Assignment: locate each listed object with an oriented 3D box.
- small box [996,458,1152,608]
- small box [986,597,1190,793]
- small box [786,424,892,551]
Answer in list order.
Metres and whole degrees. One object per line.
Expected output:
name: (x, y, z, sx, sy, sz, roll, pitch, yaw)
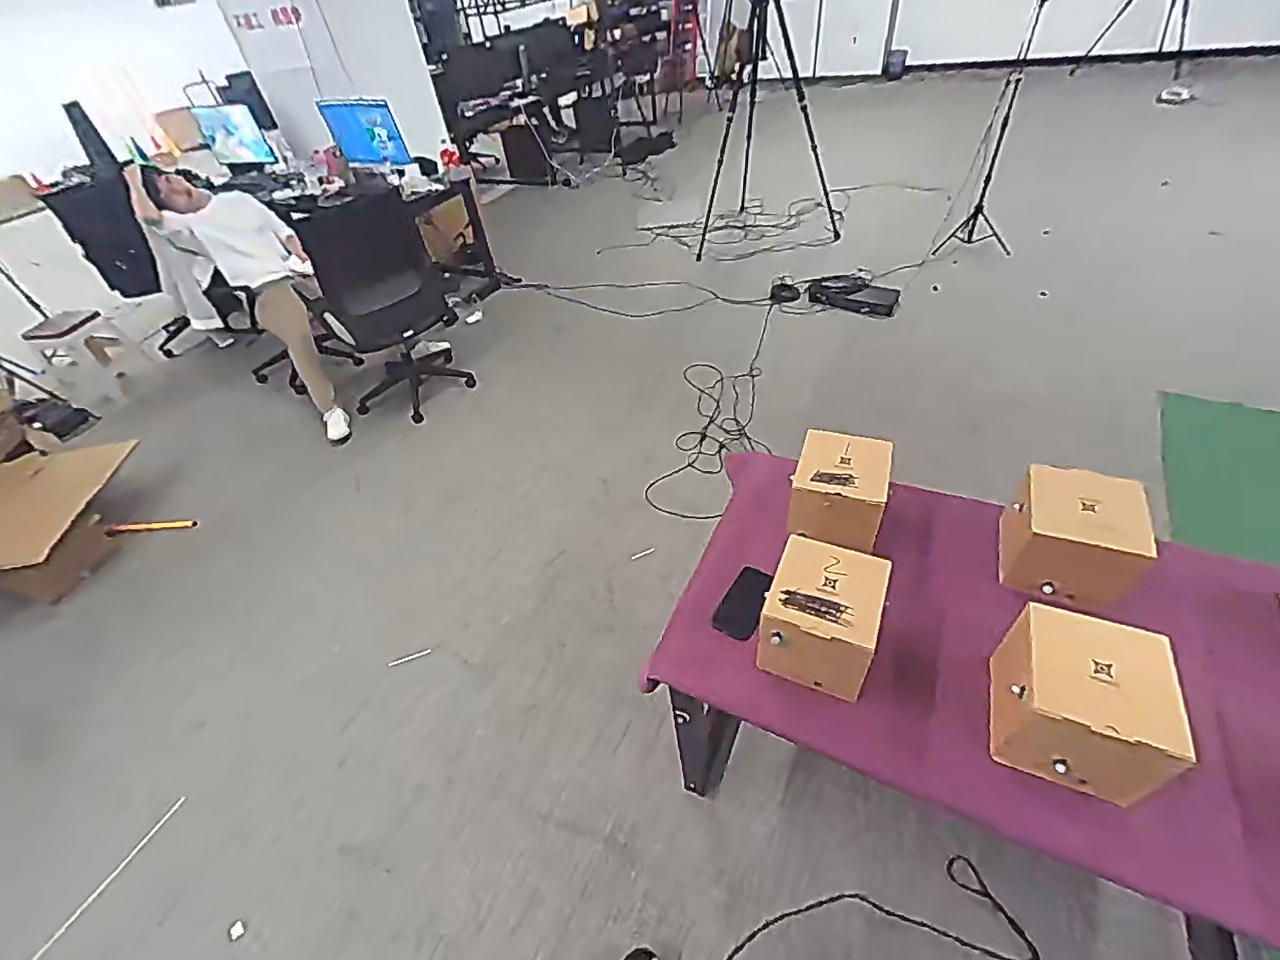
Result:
small box: (0.754, 0.093, 0.960, 0.168, 0.176, 0.179, 14, 50, 23)
small box: (0.613, 0.303, 0.769, 0.168, 0.176, 0.179, 14, 48, 21)
small box: (0.396, 0.016, 1.089, 0.168, 0.176, 0.179, 13, 48, 20)
